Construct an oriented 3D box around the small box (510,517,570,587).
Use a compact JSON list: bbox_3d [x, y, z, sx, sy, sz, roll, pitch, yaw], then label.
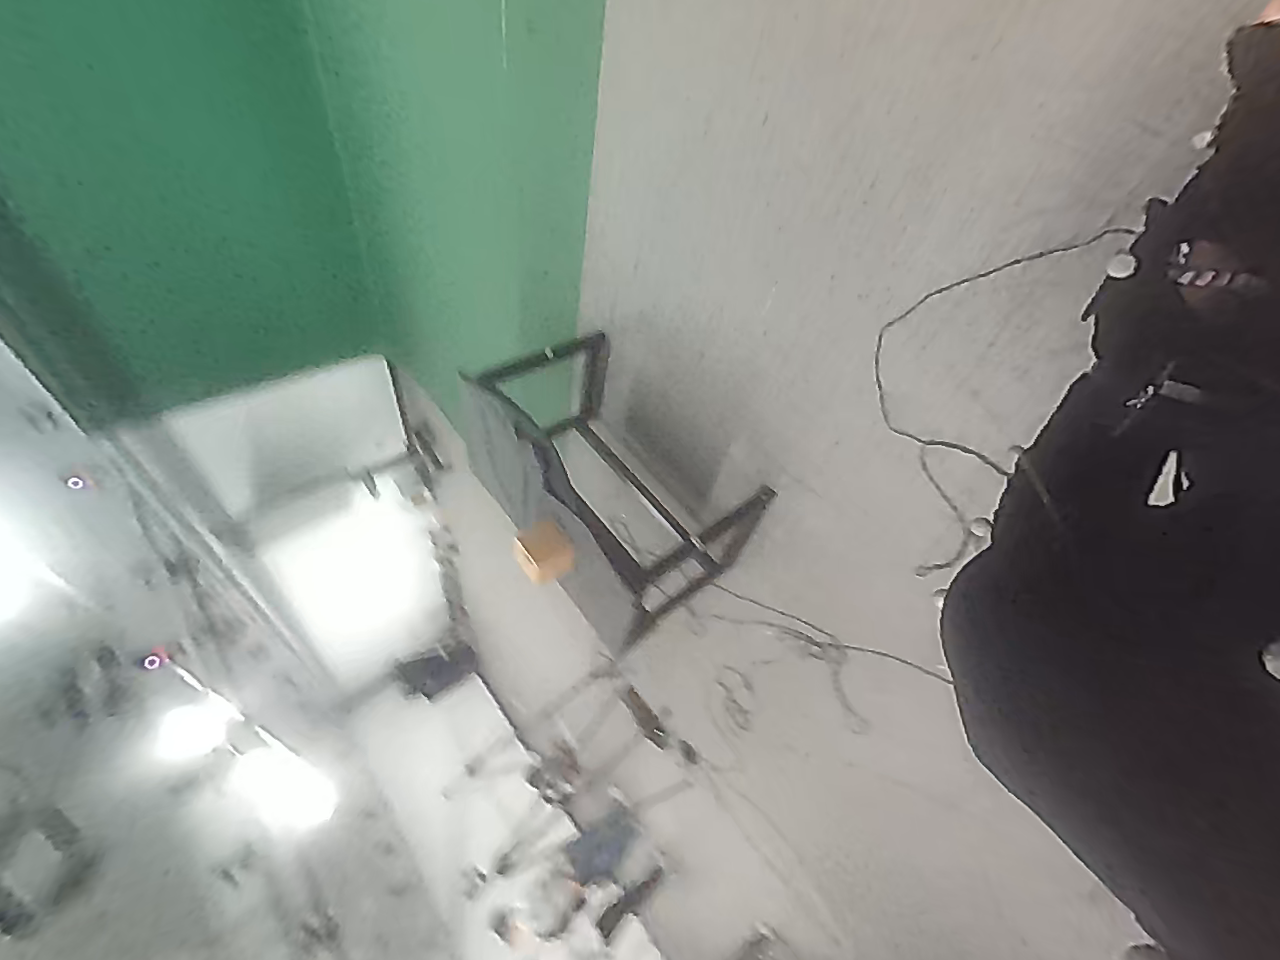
[{"bbox_3d":[-0.384,0.273,2.086,0.168,0.176,0.179,48,147,23],"label":"small box"}]
